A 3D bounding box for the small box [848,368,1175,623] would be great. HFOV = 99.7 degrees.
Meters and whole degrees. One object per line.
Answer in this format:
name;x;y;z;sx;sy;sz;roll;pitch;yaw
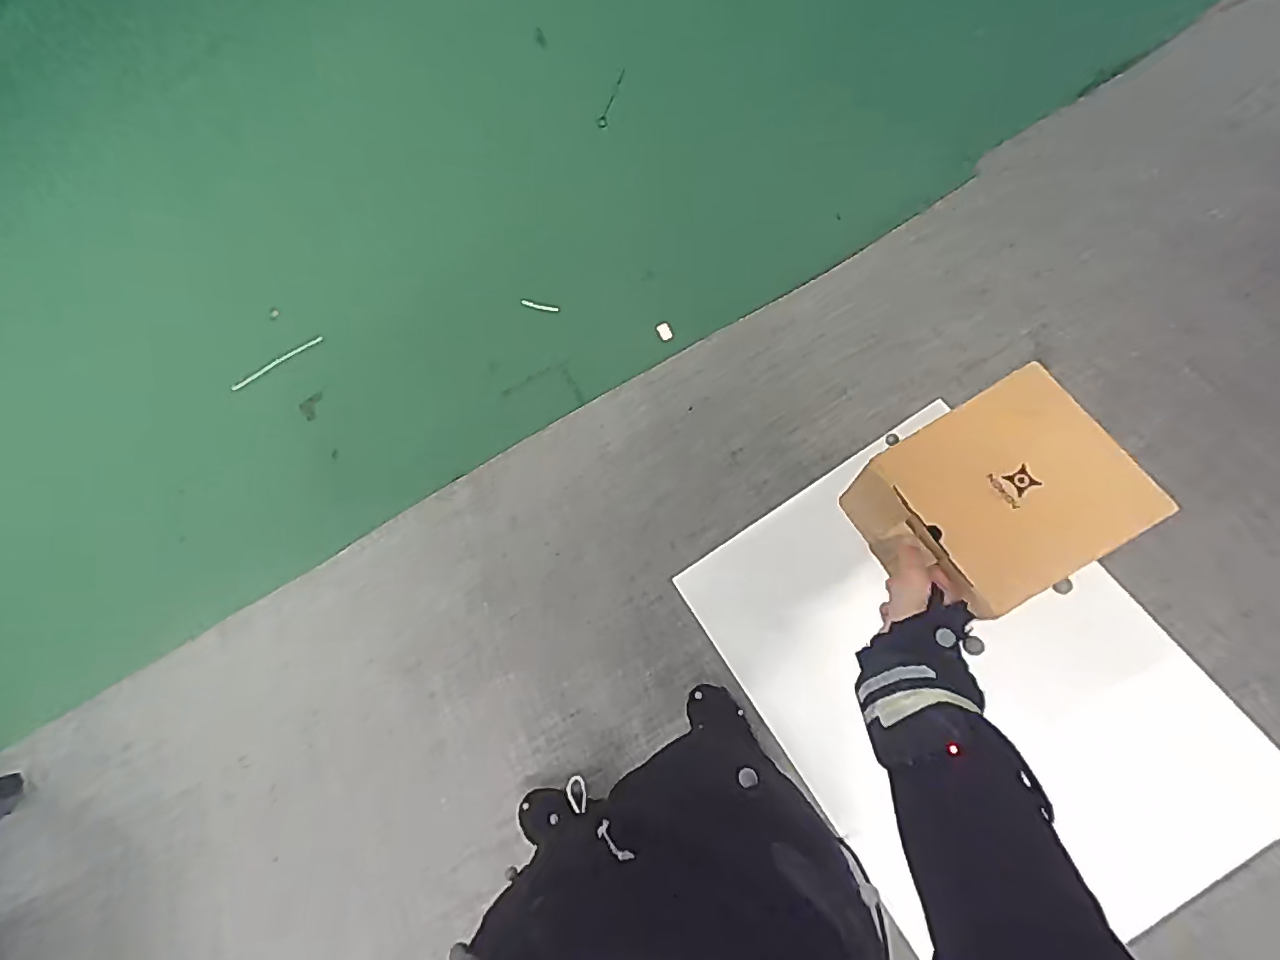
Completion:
small box;0.338;0.027;0.540;0.179;0.176;0.168;-32;72;1
